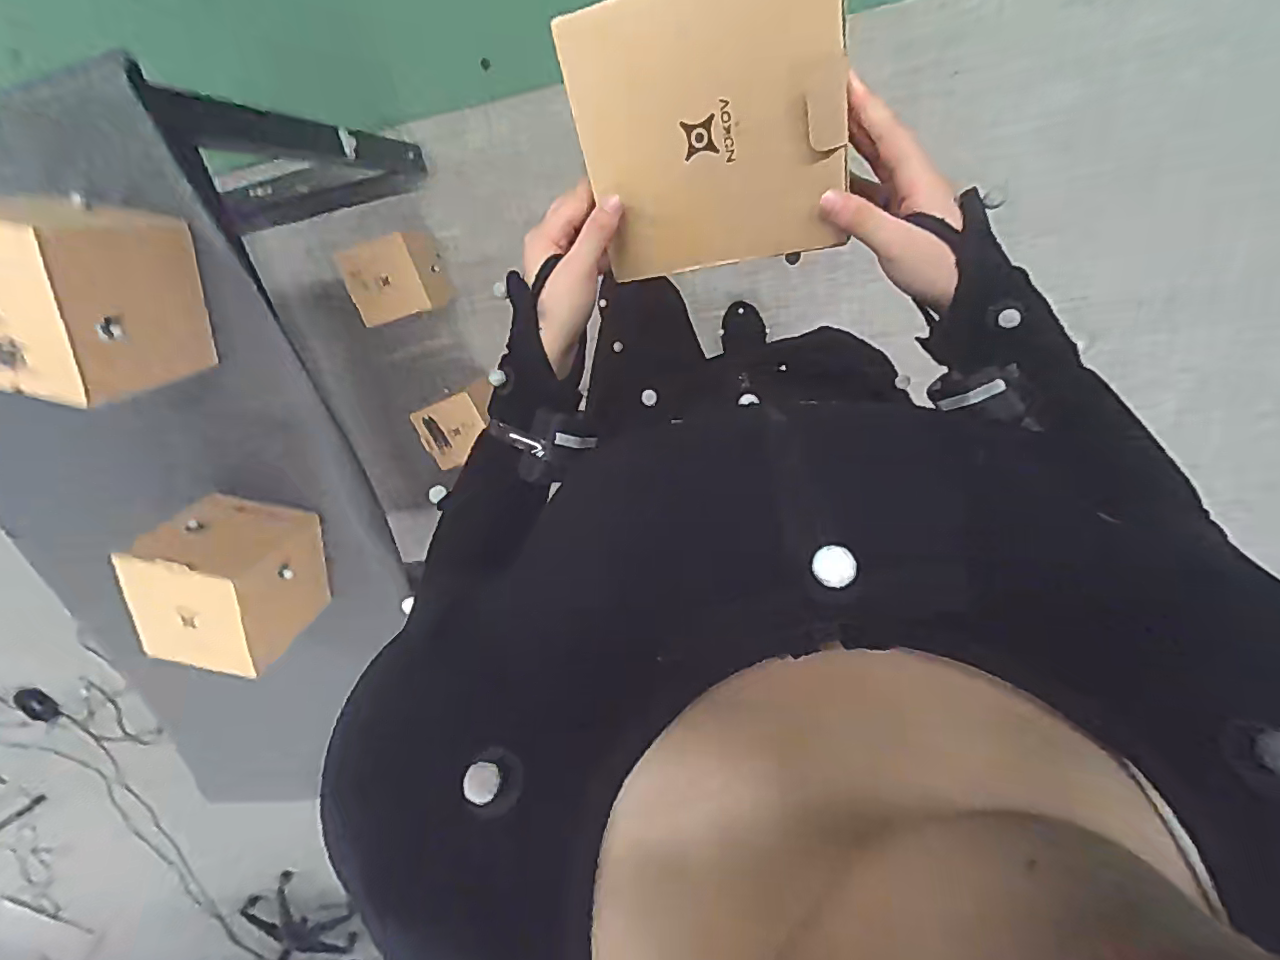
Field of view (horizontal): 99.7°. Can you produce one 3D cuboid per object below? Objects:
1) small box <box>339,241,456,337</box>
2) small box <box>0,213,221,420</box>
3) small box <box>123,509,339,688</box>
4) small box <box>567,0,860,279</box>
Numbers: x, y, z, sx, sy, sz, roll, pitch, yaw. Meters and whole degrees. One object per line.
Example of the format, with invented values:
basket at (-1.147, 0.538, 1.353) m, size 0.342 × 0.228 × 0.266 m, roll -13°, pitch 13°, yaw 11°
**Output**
small box at (-0.561, -0.460, 1.287) m, size 0.179 × 0.176 × 0.168 m, roll -14°, pitch 114°, yaw 11°
small box at (-0.620, -0.190, 0.607) m, size 0.168 × 0.176 × 0.179 m, roll 11°, pitch 118°, yaw 2°
small box at (-0.569, 0.162, 0.781) m, size 0.168 × 0.176 × 0.179 m, roll 10°, pitch 118°, yaw 3°
small box at (0.070, -0.271, 0.416) m, size 0.179 × 0.176 × 0.168 m, roll -3°, pitch 125°, yaw 19°
